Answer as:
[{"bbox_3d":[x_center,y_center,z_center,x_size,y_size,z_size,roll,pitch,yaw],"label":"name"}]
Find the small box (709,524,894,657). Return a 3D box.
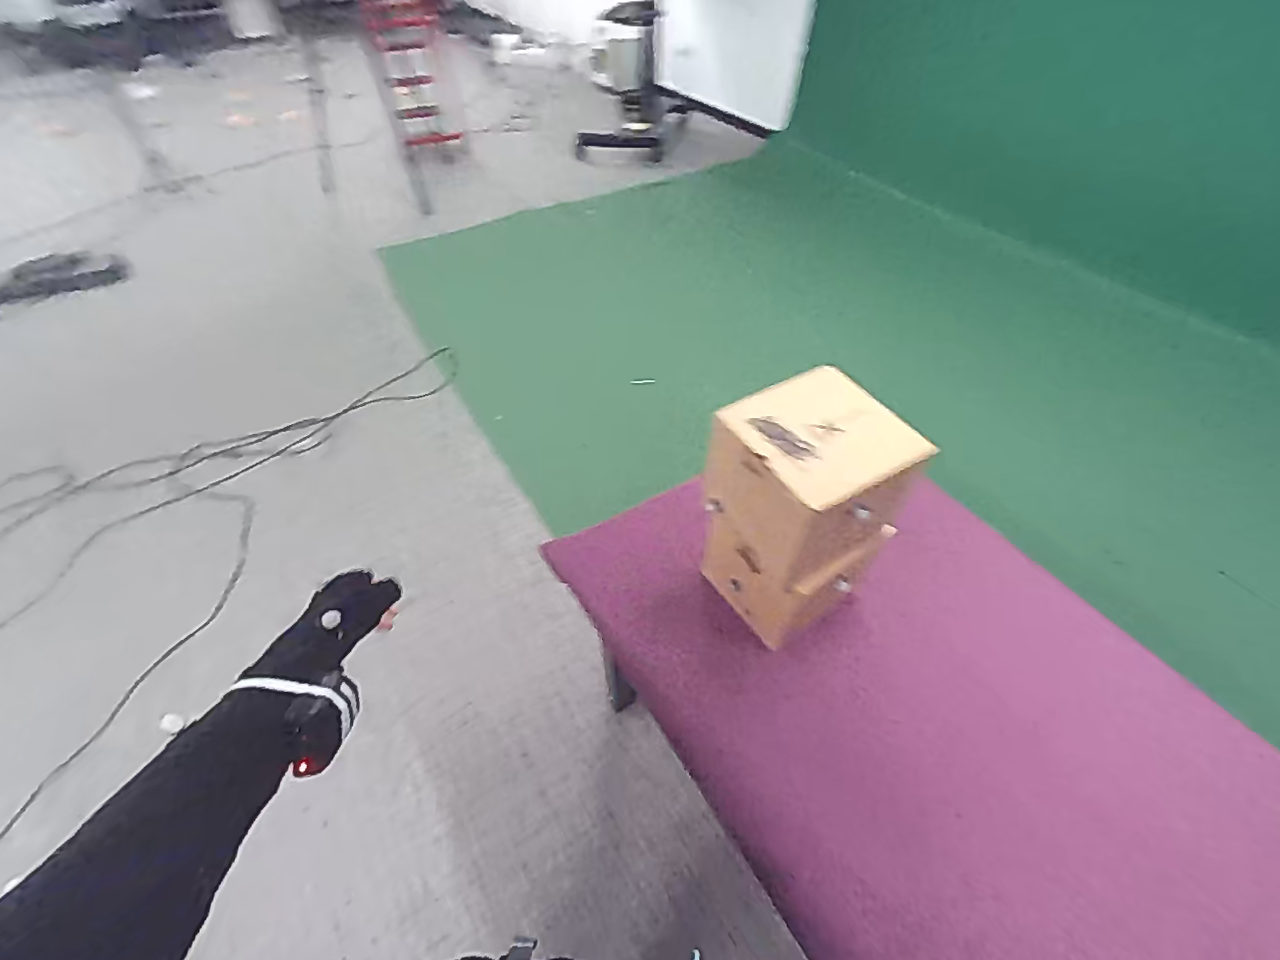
[{"bbox_3d":[0.218,0.120,0.781,0.179,0.176,0.168,-28,56,-21],"label":"small box"}]

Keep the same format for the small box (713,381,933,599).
[{"bbox_3d":[0.201,0.015,0.655,0.179,0.176,0.168,-23,54,-19],"label":"small box"}]
